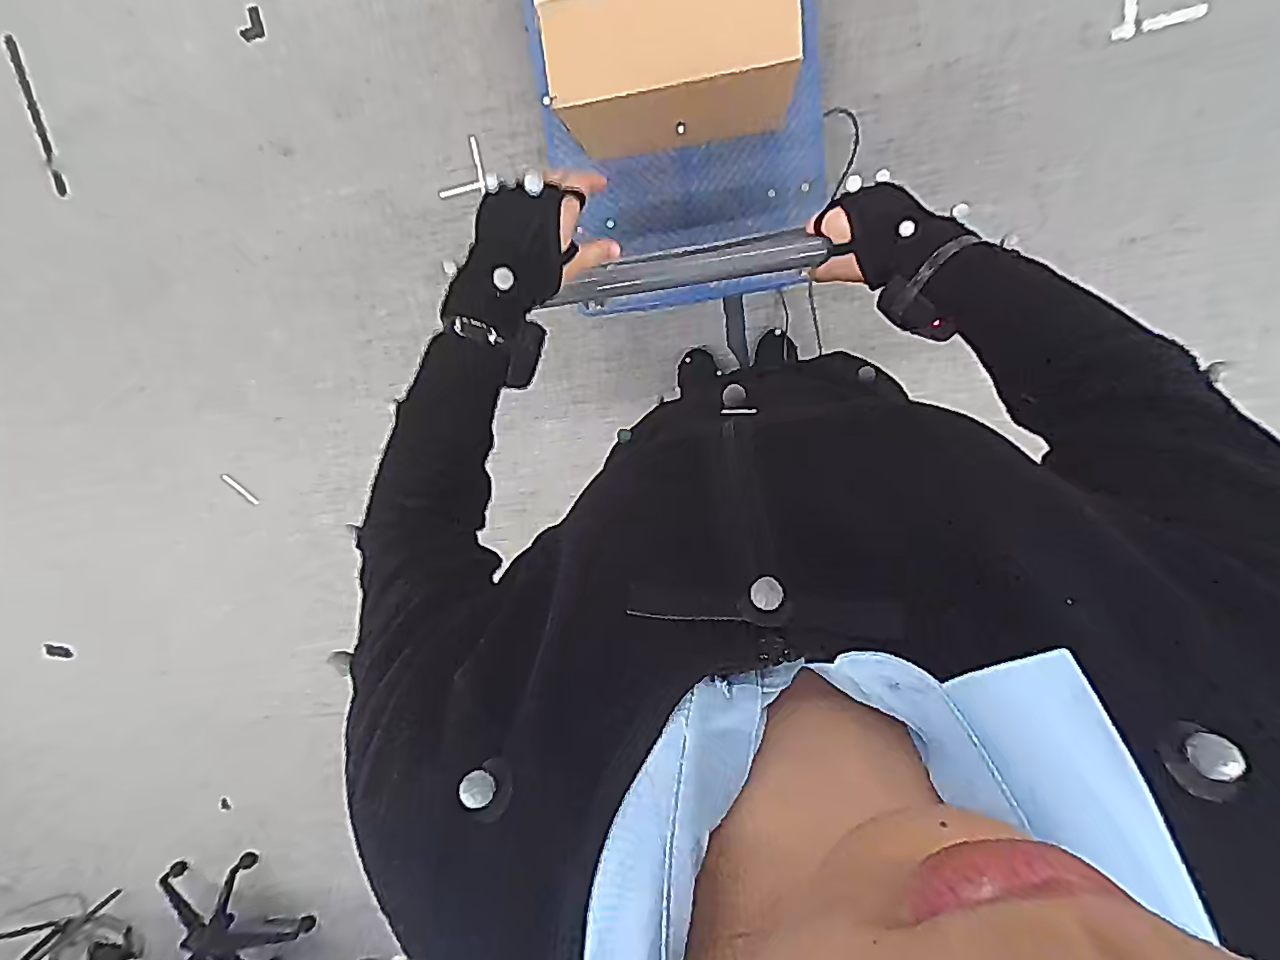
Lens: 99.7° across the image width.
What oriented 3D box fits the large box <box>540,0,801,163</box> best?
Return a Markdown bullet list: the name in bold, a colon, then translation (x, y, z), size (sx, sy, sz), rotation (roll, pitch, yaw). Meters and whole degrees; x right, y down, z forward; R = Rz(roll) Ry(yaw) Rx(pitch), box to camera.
- **large box**: translation (0.059, -0.821, 0.980), size (0.408, 0.320, 0.320), rotation (-5, 104, 11)
